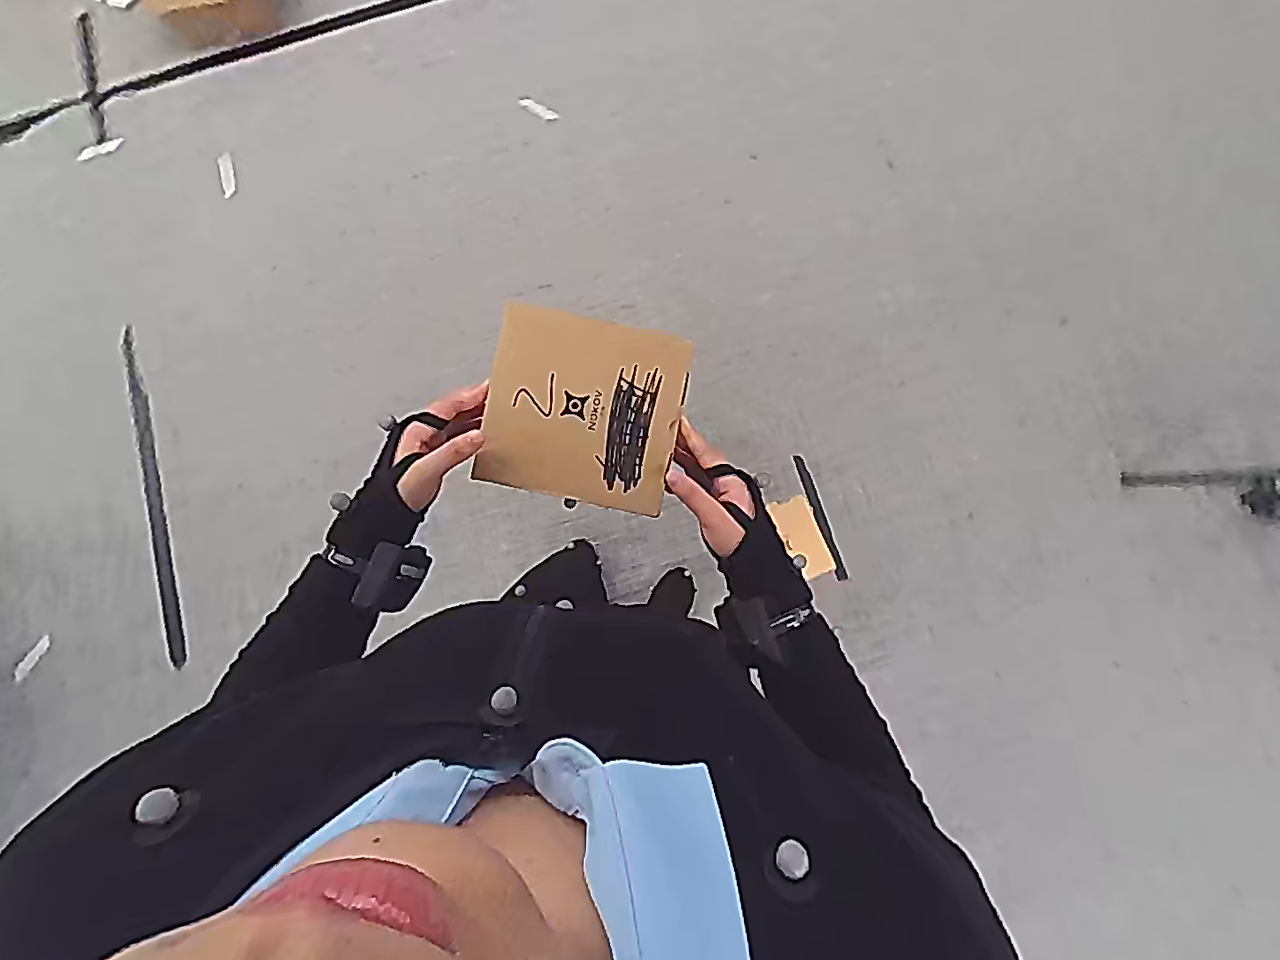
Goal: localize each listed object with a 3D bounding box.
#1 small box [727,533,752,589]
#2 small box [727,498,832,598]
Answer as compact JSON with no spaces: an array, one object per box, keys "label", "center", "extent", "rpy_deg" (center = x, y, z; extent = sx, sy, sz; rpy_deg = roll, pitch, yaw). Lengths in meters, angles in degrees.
[{"label":"small box","center":[0.332,0.183,1.409],"extent":[0.179,0.176,0.168],"rpy_deg":[-14,82,0]},{"label":"small box","center":[0.314,0.157,1.249],"extent":[0.168,0.176,0.179],"rpy_deg":[-22,80,-1]}]
